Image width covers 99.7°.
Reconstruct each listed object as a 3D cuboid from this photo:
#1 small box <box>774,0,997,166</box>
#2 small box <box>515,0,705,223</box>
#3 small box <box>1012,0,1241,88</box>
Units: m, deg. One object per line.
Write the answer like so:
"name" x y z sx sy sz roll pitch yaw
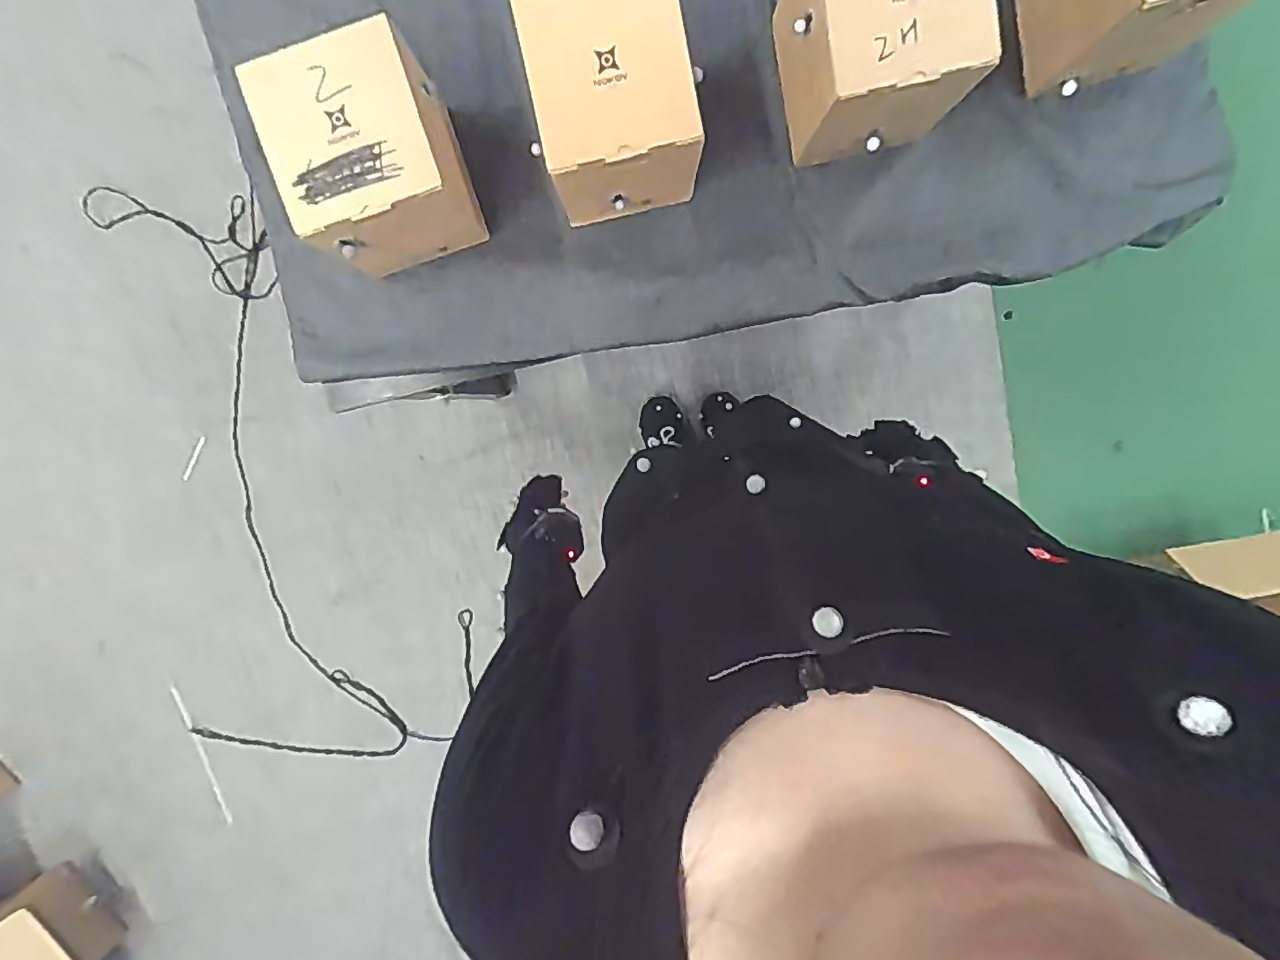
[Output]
"small box" 0.260 -0.494 0.609 0.168 0.176 0.179 -12 98 2
"small box" -0.031 -0.426 0.621 0.168 0.176 0.179 -13 99 1
"small box" 0.548 -0.574 0.596 0.168 0.176 0.179 -13 97 2
